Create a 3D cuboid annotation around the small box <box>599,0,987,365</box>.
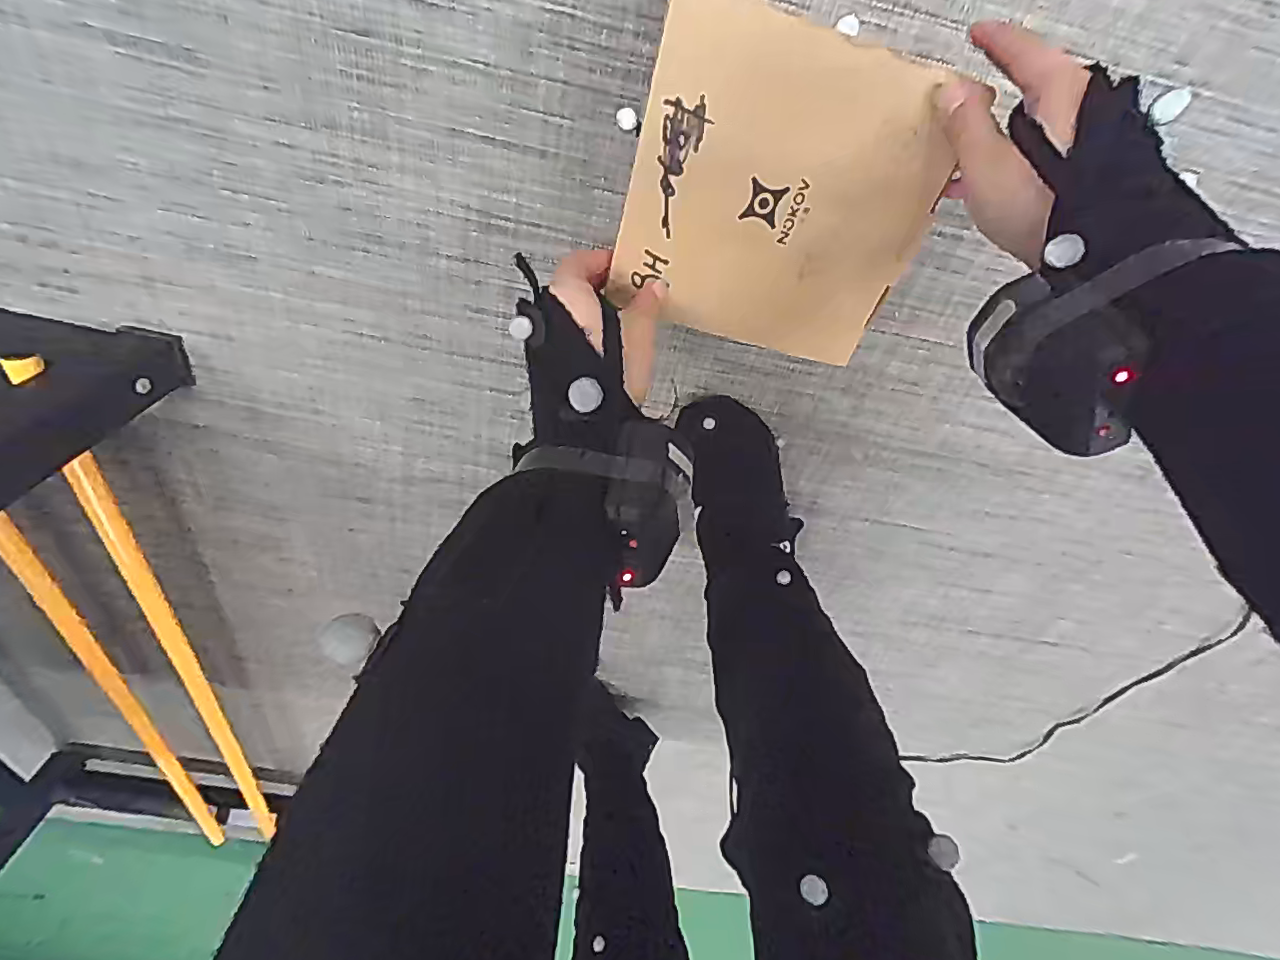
[{"bbox_3d":[0.079,-0.208,0.376,0.179,0.176,0.168,13,127,-9],"label":"small box"}]
